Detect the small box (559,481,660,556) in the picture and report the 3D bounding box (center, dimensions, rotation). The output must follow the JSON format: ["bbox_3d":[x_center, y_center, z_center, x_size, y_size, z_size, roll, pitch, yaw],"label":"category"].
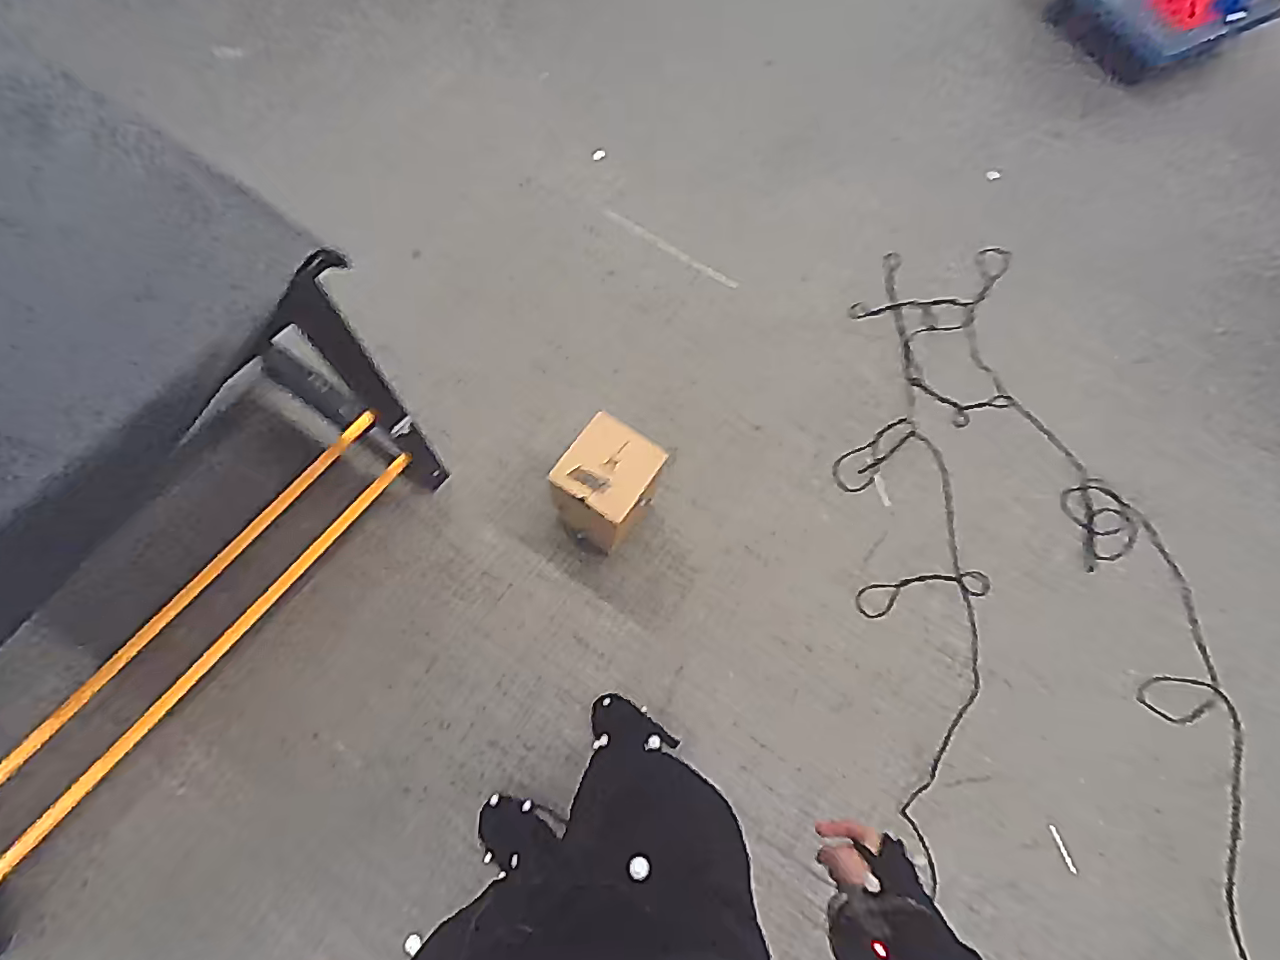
[{"bbox_3d":[-0.078,0.050,1.258,0.168,0.176,0.179,35,69,8],"label":"small box"}]

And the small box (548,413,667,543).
[{"bbox_3d":[-0.066,0.004,1.101,0.168,0.176,0.179,33,69,7],"label":"small box"}]
